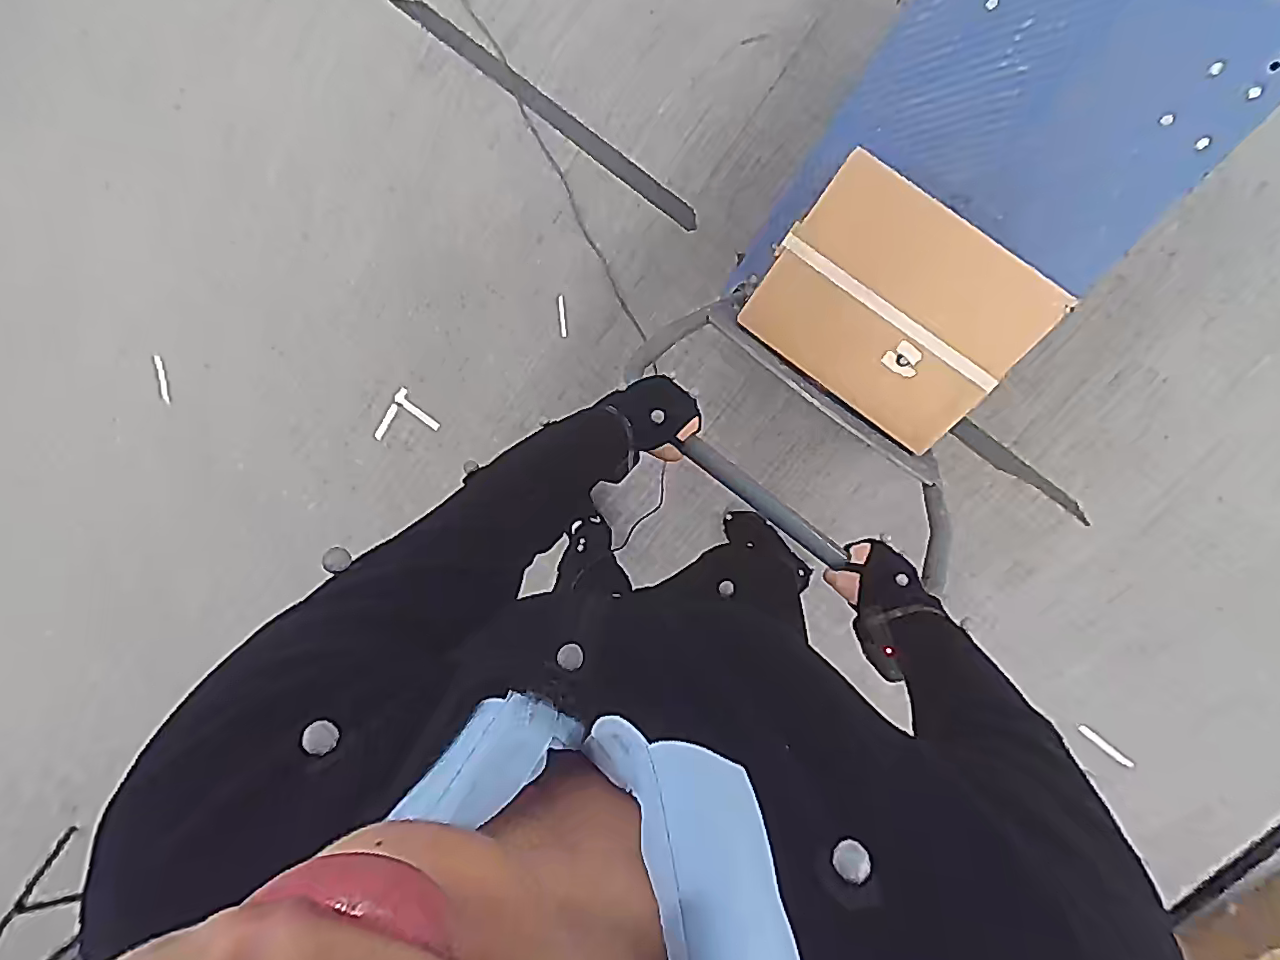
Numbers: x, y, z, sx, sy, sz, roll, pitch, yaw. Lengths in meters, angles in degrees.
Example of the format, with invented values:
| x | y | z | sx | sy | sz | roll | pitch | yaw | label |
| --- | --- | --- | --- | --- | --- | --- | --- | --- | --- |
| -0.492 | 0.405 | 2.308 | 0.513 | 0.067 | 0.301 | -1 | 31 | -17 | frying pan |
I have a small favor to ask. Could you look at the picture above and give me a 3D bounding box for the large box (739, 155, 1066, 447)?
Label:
| x | y | z | sx | sy | sz | roll | pitch | yaw | label |
| --- | --- | --- | --- | --- | --- | --- | --- | --- | --- |
| 0.457 | -0.334 | 1.028 | 0.408 | 0.320 | 0.320 | 38 | 119 | 3 | large box |
